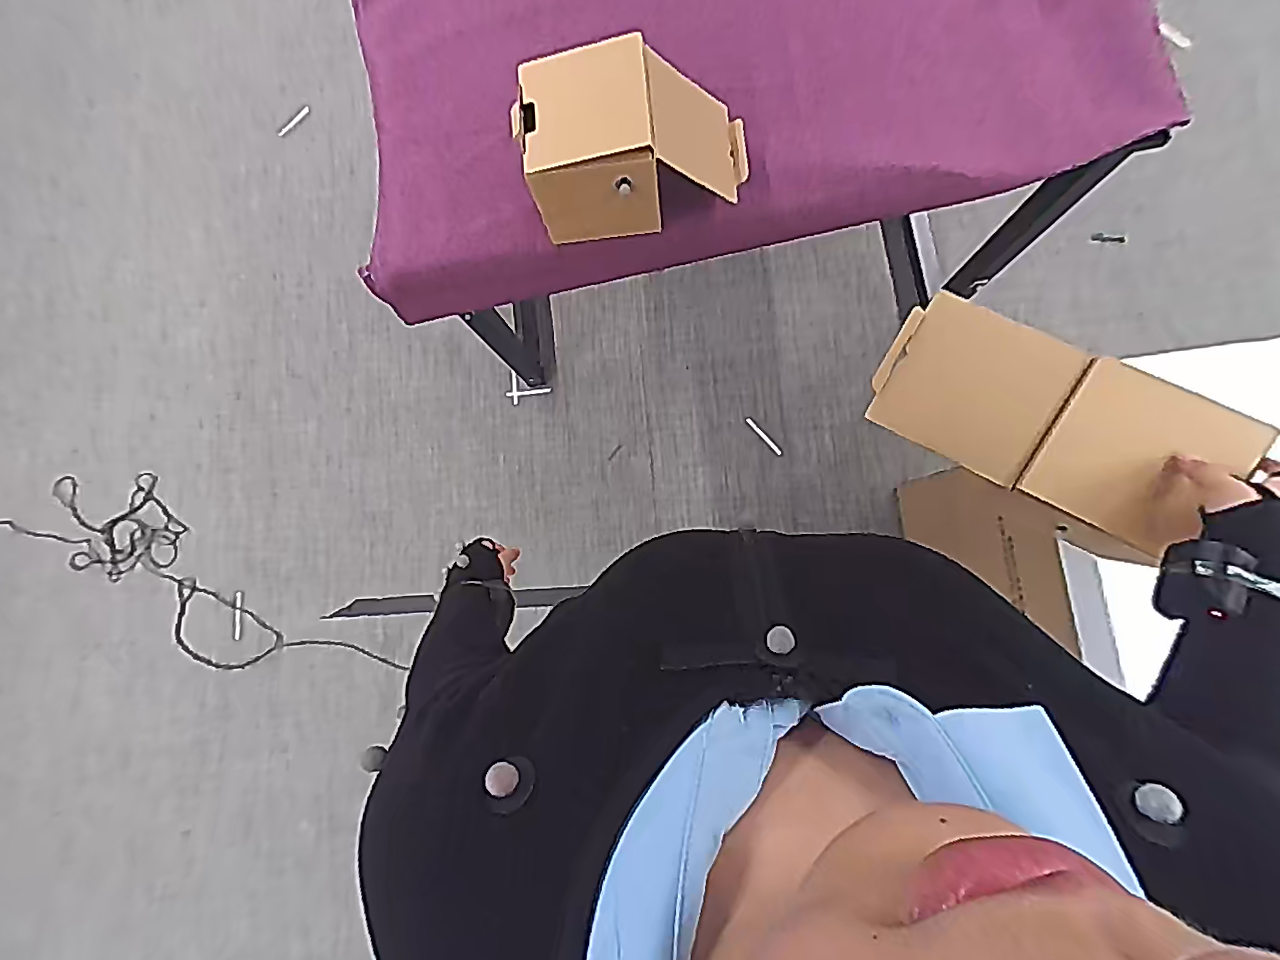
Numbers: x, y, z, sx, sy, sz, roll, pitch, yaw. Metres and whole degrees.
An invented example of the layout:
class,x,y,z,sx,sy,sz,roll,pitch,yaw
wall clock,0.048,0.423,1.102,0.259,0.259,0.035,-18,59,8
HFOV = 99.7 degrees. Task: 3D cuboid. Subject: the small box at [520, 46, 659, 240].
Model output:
class,x,y,z,sx,sy,sz,roll,pitch,yaw
small box,-0.064,-0.480,0.793,0.179,0.176,0.168,-5,82,5
